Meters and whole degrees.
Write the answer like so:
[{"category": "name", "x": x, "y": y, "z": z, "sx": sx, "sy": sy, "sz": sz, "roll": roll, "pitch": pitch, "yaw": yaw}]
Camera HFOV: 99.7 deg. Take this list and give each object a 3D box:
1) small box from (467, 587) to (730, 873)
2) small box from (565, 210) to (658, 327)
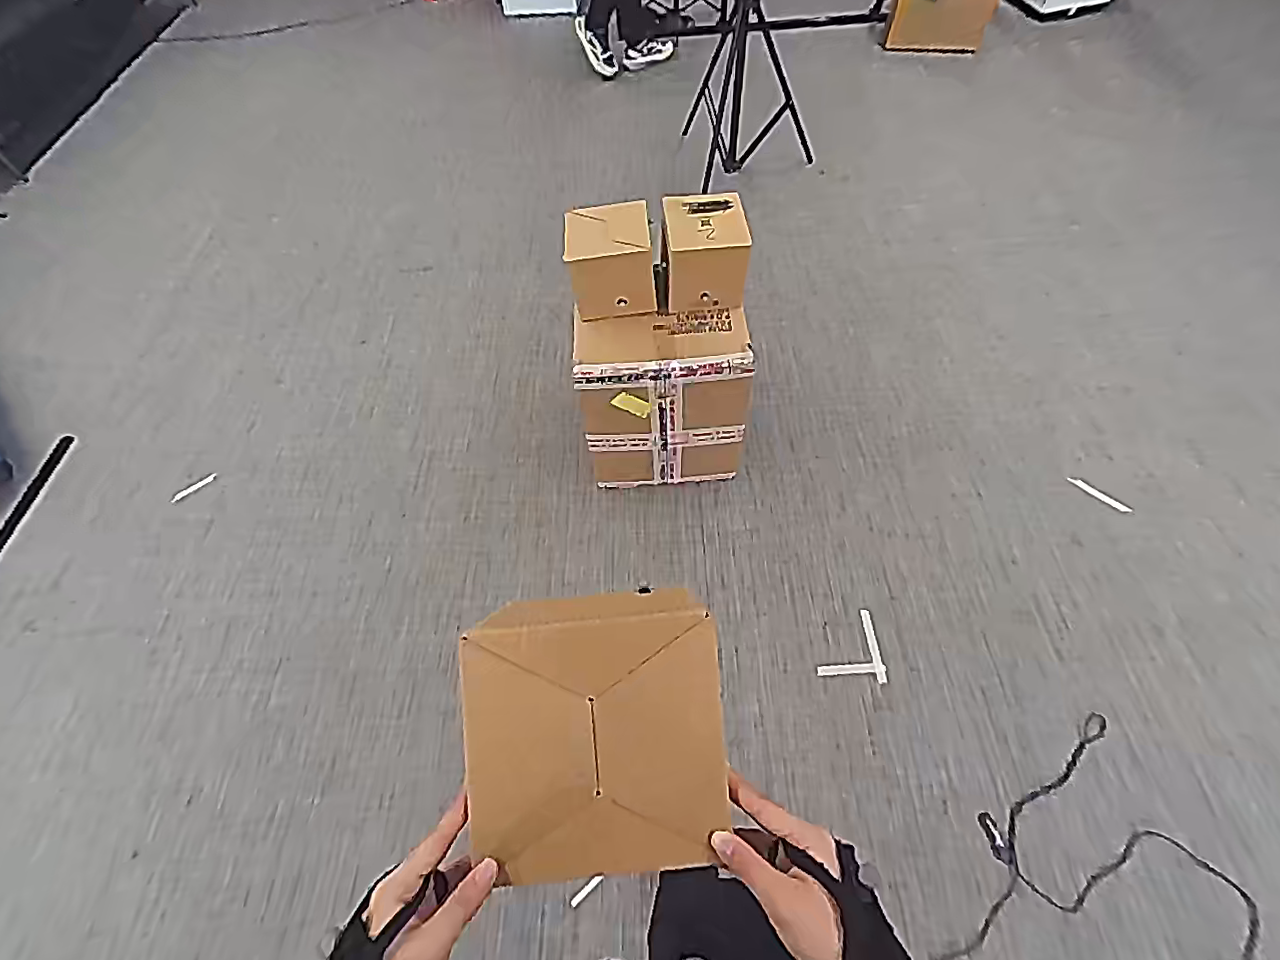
[{"category": "small box", "x": -0.034, "y": 0.187, "z": 0.449, "sx": 0.179, "sy": 0.176, "sz": 0.168, "roll": -5, "pitch": 85, "yaw": -2}, {"category": "small box", "x": -0.060, "y": -0.467, "z": 1.193, "sx": 0.179, "sy": 0.176, "sz": 0.168, "roll": -6, "pitch": 60, "yaw": 3}]
